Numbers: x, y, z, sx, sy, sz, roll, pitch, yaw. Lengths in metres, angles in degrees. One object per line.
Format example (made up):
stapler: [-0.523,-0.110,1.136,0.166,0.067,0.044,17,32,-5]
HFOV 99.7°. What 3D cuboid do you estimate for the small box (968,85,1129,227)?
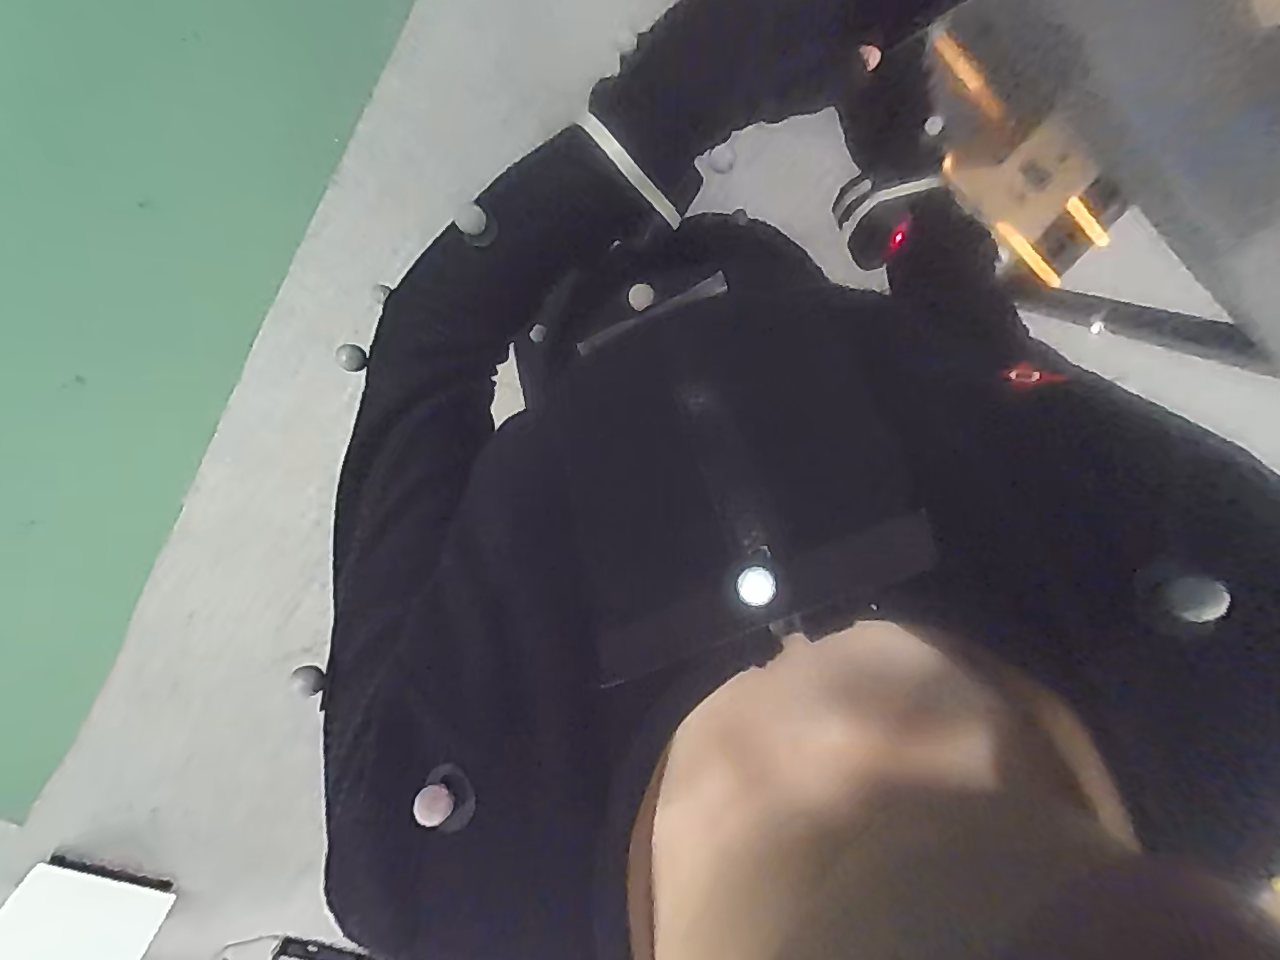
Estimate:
small box: [0.805,-0.642,1.092,0.168,0.176,0.179,35,110,-20]
